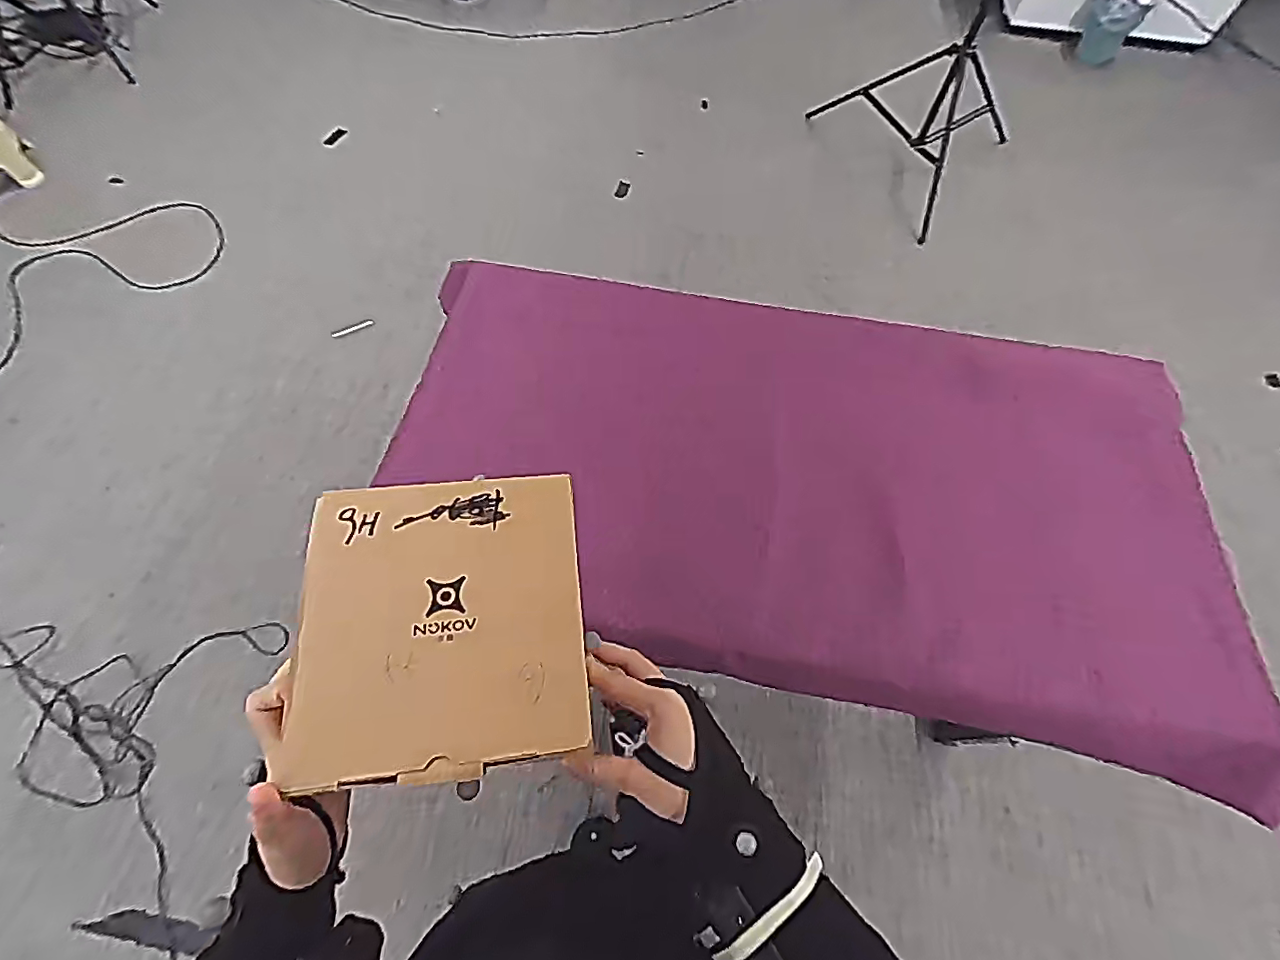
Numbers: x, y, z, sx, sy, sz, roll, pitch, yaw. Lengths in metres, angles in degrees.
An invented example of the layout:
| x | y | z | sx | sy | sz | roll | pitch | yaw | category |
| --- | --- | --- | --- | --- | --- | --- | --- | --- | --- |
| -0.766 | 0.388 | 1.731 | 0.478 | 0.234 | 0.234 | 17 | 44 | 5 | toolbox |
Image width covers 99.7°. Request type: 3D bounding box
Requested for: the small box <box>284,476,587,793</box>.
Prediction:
| x | y | z | sx | sy | sz | roll | pitch | yaw | category |
| --- | --- | --- | --- | --- | --- | --- | --- | --- | --- |
| -0.127 | 0.115 | 0.402 | 0.168 | 0.176 | 0.179 | -4 | 64 | -9 | small box |
